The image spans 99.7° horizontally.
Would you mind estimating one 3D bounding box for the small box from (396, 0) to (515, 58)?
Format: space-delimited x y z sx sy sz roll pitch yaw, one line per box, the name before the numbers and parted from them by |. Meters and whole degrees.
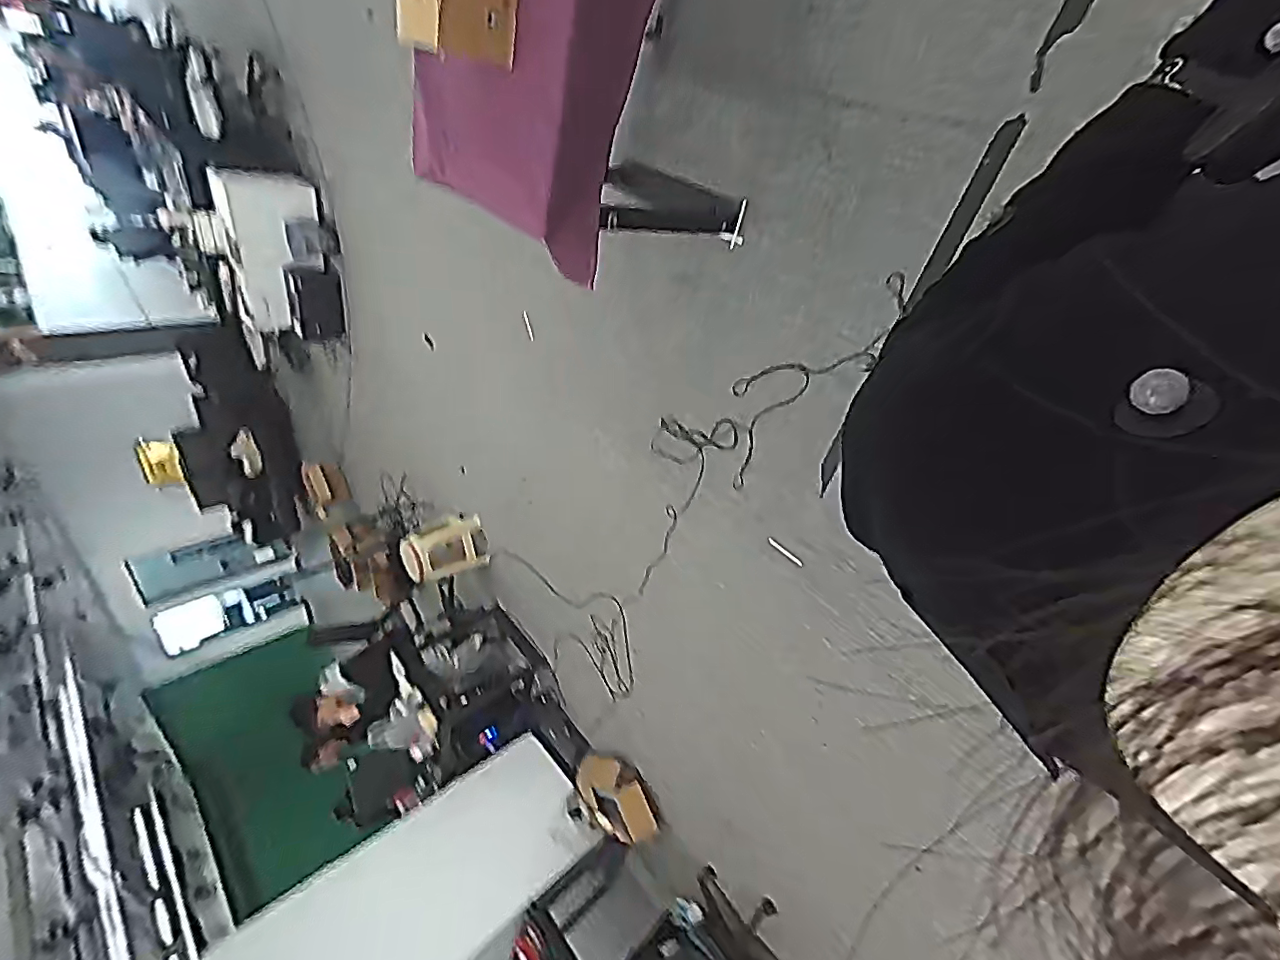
small box | -0.365 -0.964 1.071 0.179 0.176 0.168 38 131 29
